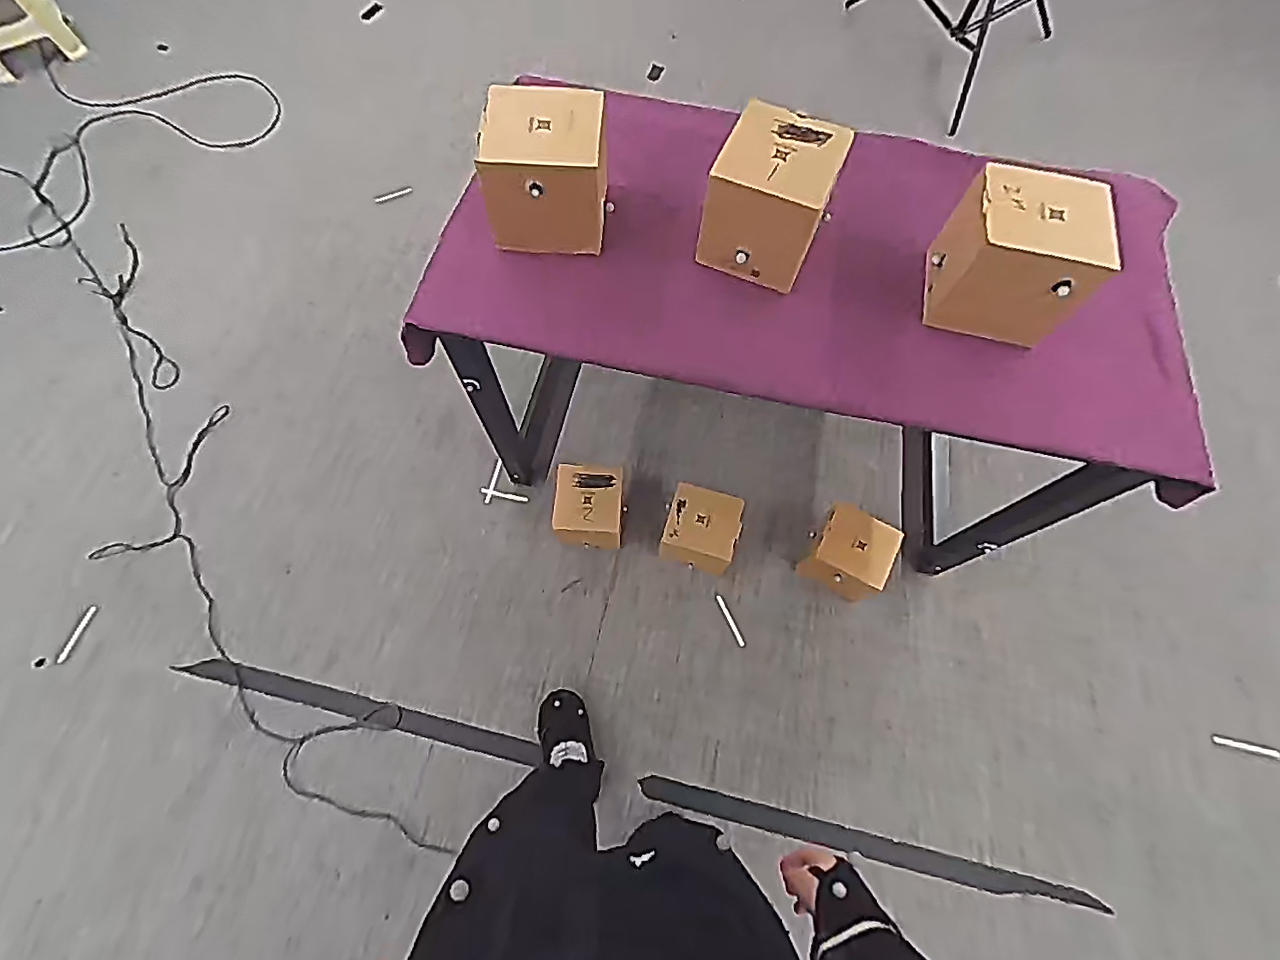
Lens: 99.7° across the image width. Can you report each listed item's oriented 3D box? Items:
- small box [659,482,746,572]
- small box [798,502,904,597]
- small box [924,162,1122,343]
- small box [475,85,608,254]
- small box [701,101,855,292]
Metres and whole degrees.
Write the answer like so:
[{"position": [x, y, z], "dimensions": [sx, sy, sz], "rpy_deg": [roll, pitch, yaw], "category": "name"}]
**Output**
[{"position": [0.157, 0.129, 1.398], "dimensions": [0.179, 0.176, 0.168], "rpy_deg": [16, 68, 5], "category": "small box"}, {"position": [0.533, 0.185, 1.385], "dimensions": [0.179, 0.176, 0.168], "rpy_deg": [28, 70, 11], "category": "small box"}, {"position": [0.558, -0.330, 0.807], "dimensions": [0.179, 0.176, 0.168], "rpy_deg": [14, 67, 5], "category": "small box"}, {"position": [-0.144, -0.482, 0.856], "dimensions": [0.179, 0.176, 0.168], "rpy_deg": [2, 69, -2], "category": "small box"}, {"position": [0.204, -0.434, 0.843], "dimensions": [0.168, 0.176, 0.179], "rpy_deg": [23, 70, 8], "category": "small box"}]
